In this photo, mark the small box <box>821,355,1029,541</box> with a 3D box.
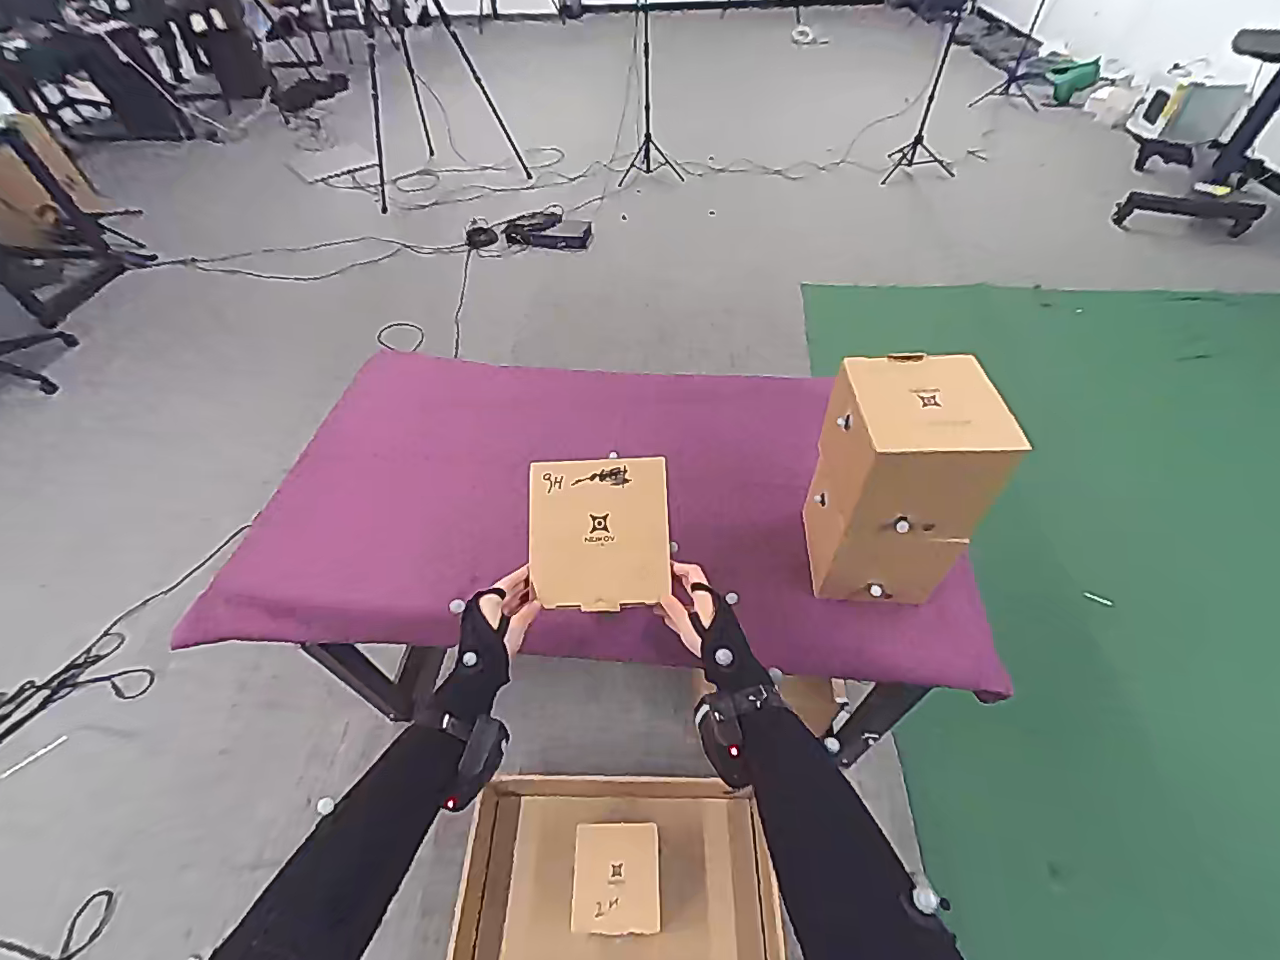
[{"bbox_3d":[0.344,-0.042,0.699,0.168,0.176,0.179,0,48,4],"label":"small box"}]

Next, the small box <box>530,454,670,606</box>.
[{"bbox_3d":[-0.045,0.072,0.712,0.168,0.176,0.179,-2,77,1],"label":"small box"}]

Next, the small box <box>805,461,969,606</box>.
[{"bbox_3d":[0.355,0.068,0.819,0.168,0.176,0.179,2,49,5],"label":"small box"}]

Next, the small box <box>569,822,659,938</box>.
[{"bbox_3d":[-0.045,0.807,1.090,0.168,0.176,0.179,-1,50,1],"label":"small box"}]
